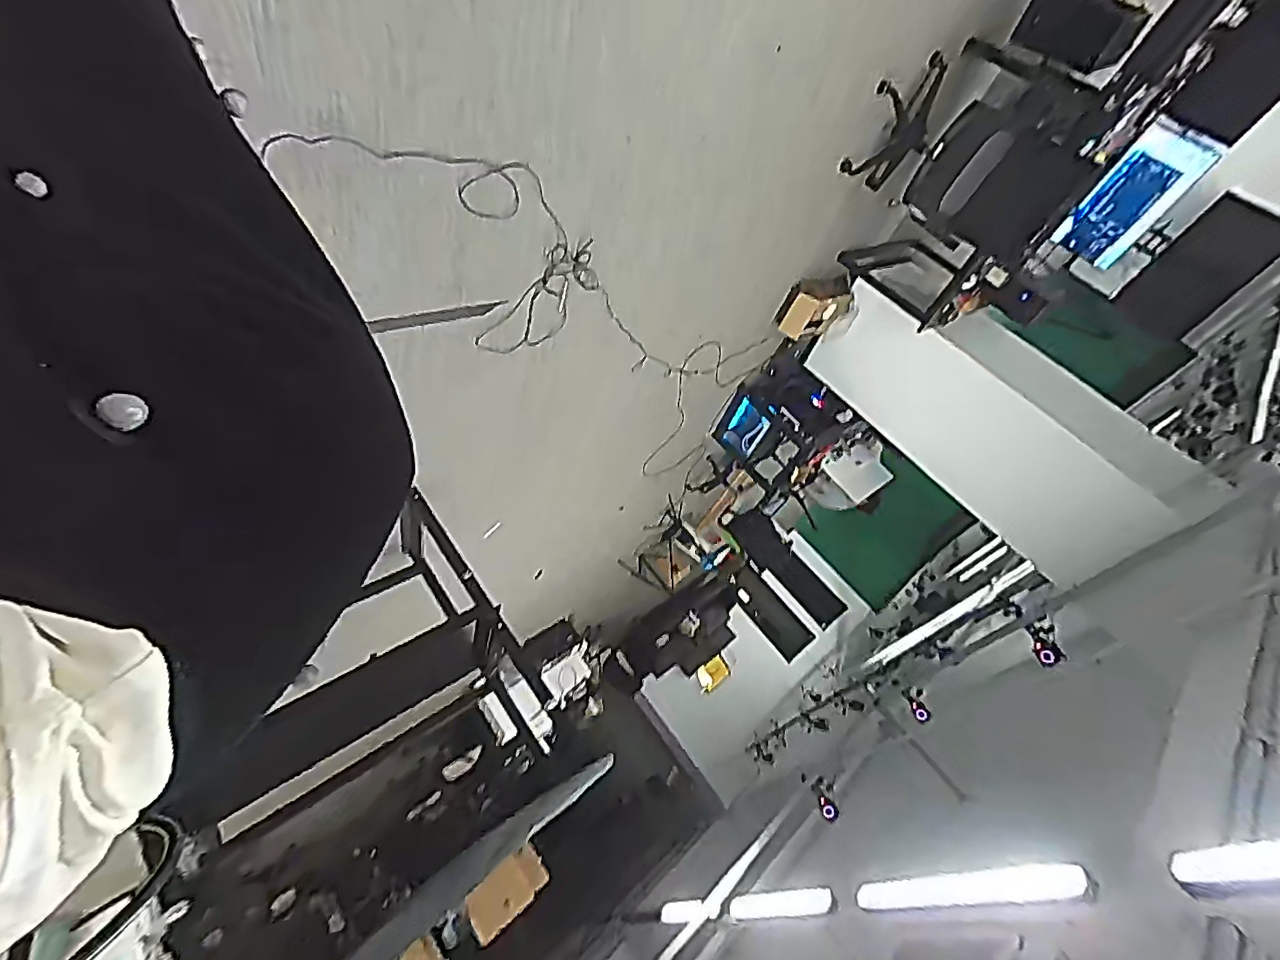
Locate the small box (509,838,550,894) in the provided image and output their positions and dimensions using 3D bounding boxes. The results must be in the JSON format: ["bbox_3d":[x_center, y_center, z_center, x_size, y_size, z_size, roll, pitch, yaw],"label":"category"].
[{"bbox_3d":[-0.459,1.486,2.033,0.168,0.176,0.179,-27,155,-32],"label":"small box"}]

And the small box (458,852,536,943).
[{"bbox_3d":[-0.473,1.369,1.778,0.179,0.176,0.168,-24,153,-37],"label":"small box"}]

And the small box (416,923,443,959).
[{"bbox_3d":[-0.762,1.635,1.806,0.179,0.176,0.168,-25,155,-35],"label":"small box"}]

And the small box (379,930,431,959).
[{"bbox_3d":[-0.711,1.495,1.616,0.168,0.176,0.179,-26,155,-37],"label":"small box"}]
